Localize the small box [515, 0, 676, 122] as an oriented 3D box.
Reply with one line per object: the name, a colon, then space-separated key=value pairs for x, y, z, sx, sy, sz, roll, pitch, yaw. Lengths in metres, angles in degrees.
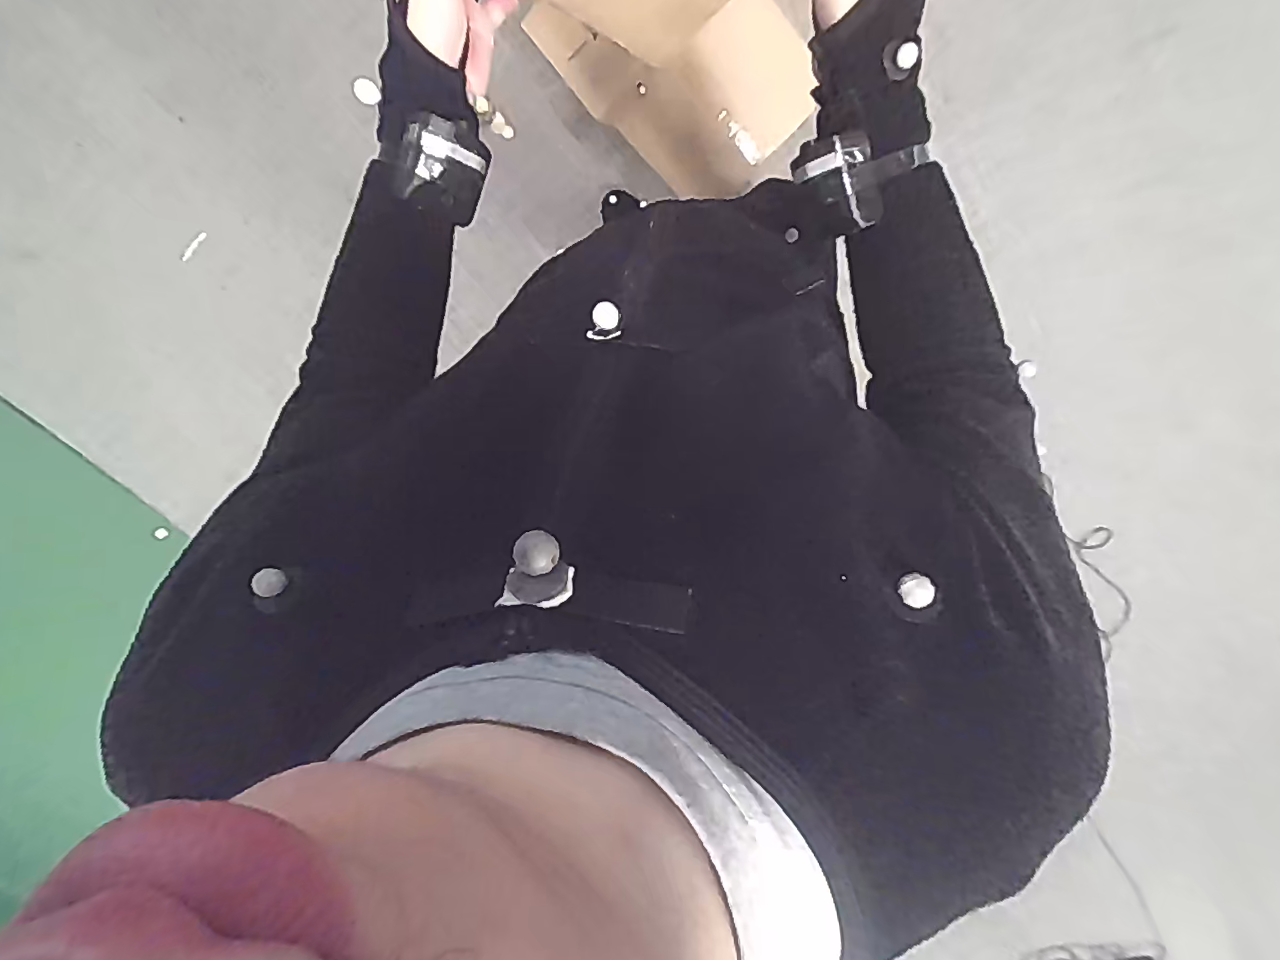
small box: x=-0.061 y=-0.697 z=0.840 sx=0.179 sy=0.176 sz=0.168 roll=-36 pitch=111 yaw=23
